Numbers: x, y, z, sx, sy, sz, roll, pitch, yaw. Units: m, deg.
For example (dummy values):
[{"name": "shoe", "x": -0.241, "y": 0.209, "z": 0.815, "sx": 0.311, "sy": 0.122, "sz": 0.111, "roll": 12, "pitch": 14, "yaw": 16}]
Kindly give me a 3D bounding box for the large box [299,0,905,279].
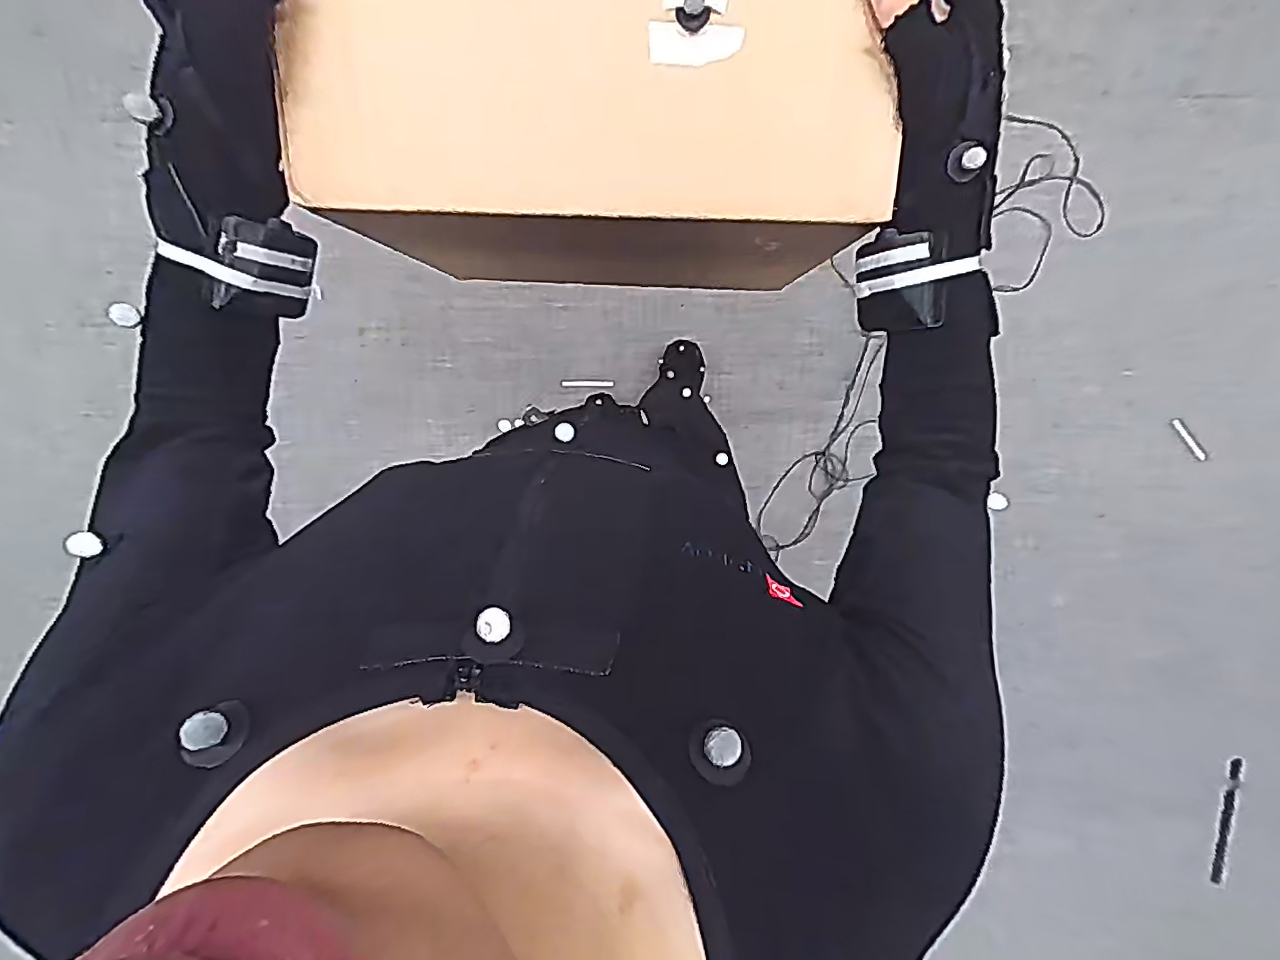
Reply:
[{"name": "large box", "x": -0.024, "y": -0.372, "z": 0.493, "sx": 0.408, "sy": 0.320, "sz": 0.320, "roll": 2, "pitch": 102, "yaw": 0}]
